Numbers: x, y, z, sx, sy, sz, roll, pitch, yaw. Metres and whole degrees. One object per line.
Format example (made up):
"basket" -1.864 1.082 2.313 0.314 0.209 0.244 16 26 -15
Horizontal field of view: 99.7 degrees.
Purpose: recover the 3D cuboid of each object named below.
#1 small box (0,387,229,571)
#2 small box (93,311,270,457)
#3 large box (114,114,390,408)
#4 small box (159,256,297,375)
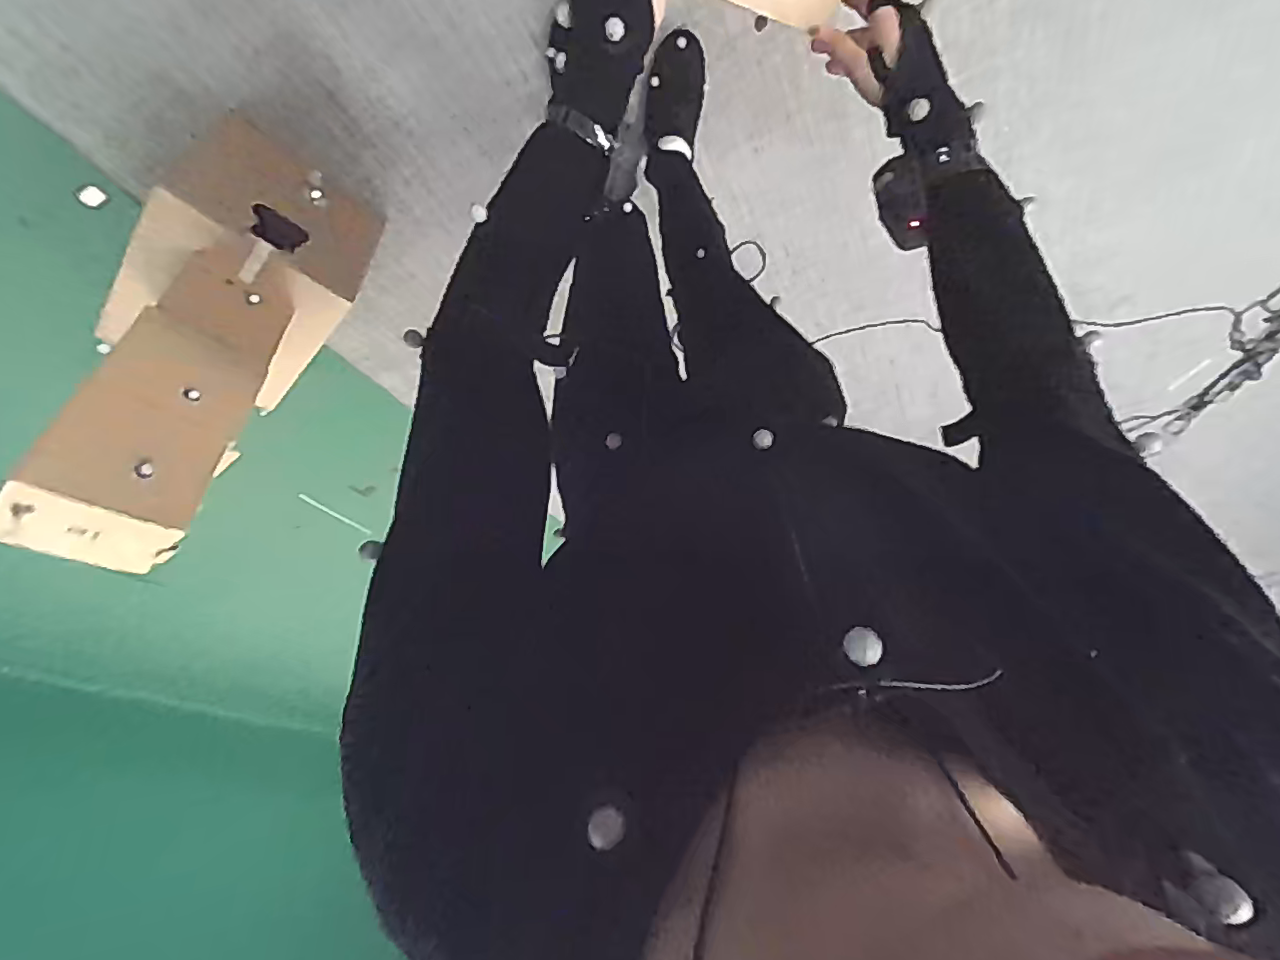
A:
"small box" -0.723 0.002 0.755 0.168 0.176 0.179 -29 138 28
"small box" -0.731 -0.129 0.854 0.168 0.176 0.179 -28 138 27
"large box" -0.785 -0.432 1.124 0.408 0.320 0.320 -31 134 31
"small box" -0.748 -0.252 0.961 0.179 0.176 0.168 -30 138 28
